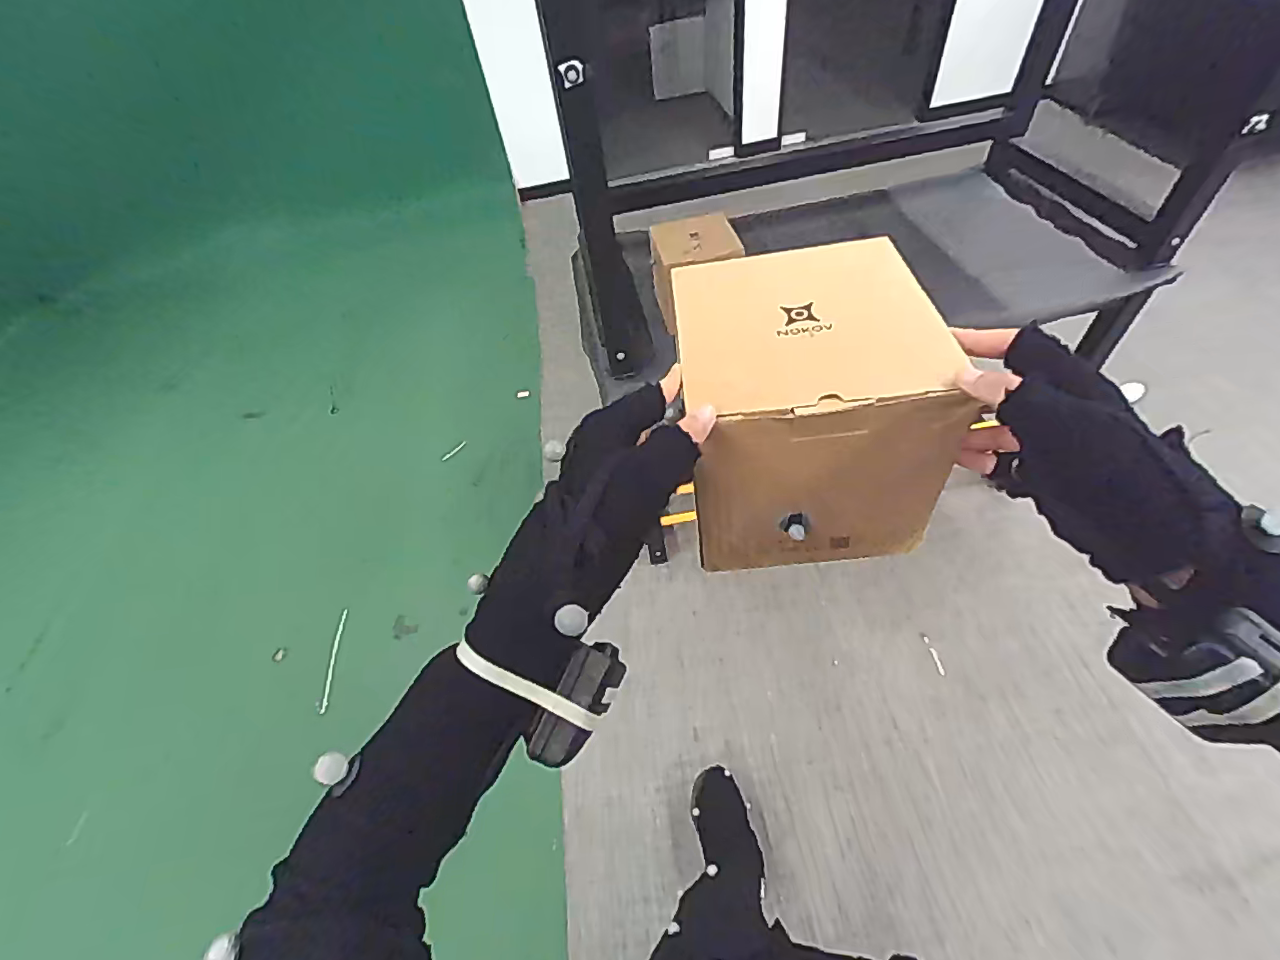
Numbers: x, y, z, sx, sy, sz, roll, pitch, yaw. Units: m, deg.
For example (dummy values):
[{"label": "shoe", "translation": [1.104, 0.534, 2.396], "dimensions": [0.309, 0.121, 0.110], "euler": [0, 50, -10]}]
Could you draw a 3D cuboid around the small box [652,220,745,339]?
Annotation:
[{"label": "small box", "translation": [0.124, -0.438, 1.187], "dimensions": [0.168, 0.176, 0.179], "euler": [-12, 50, -1]}]

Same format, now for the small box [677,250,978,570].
[{"label": "small box", "translation": [0.118, -0.051, 0.423], "dimensions": [0.168, 0.176, 0.179], "euler": [-6, 49, 6]}]
